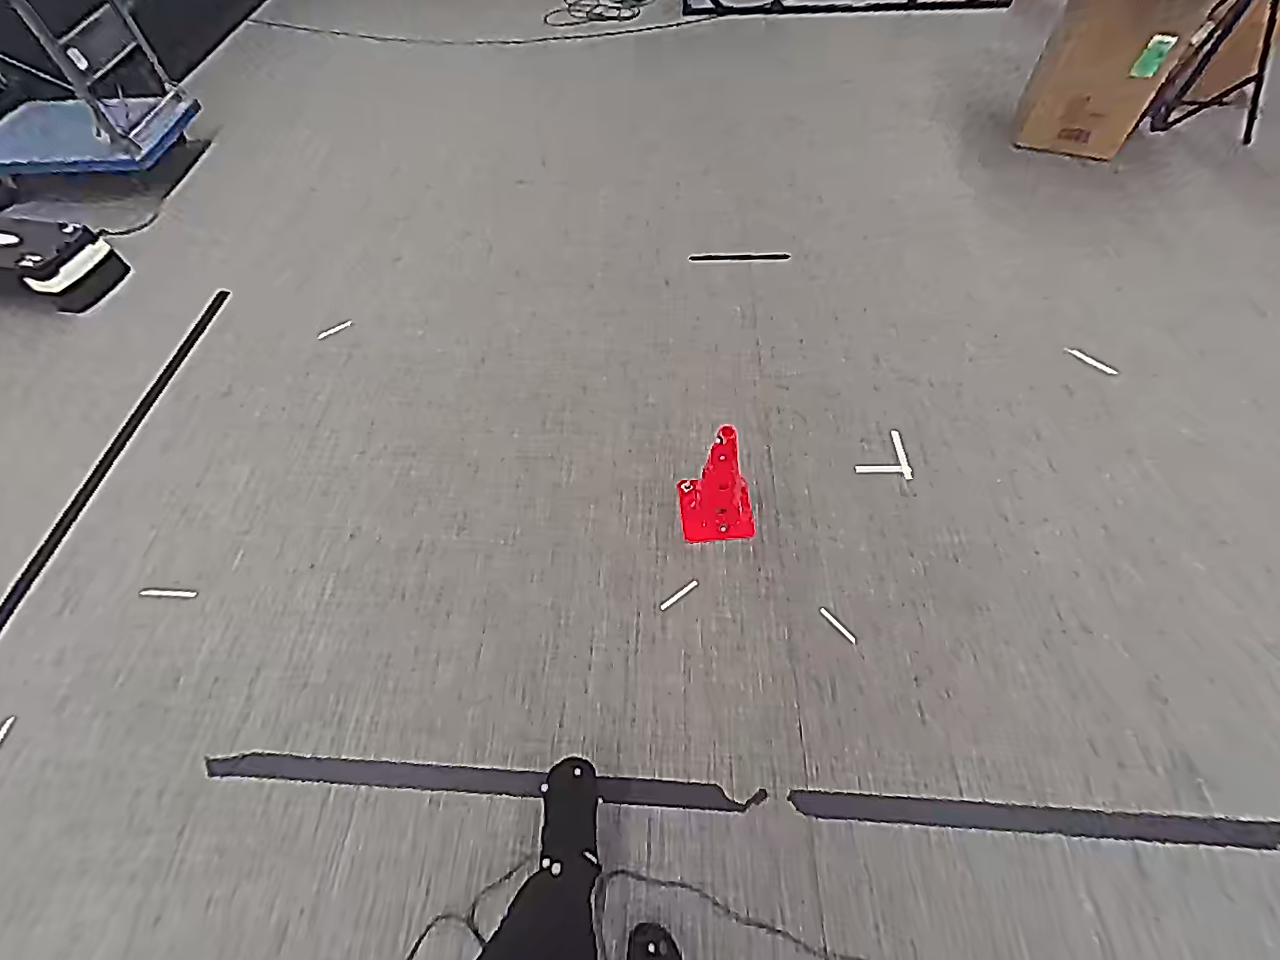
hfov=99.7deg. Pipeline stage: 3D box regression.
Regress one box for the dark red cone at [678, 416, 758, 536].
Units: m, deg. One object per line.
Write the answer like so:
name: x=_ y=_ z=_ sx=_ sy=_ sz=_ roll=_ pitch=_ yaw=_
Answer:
dark red cone: x=0.205 y=-0.025 z=1.347 sx=0.202 sy=0.394 sz=0.201 roll=-5 pitch=58 yaw=-1
